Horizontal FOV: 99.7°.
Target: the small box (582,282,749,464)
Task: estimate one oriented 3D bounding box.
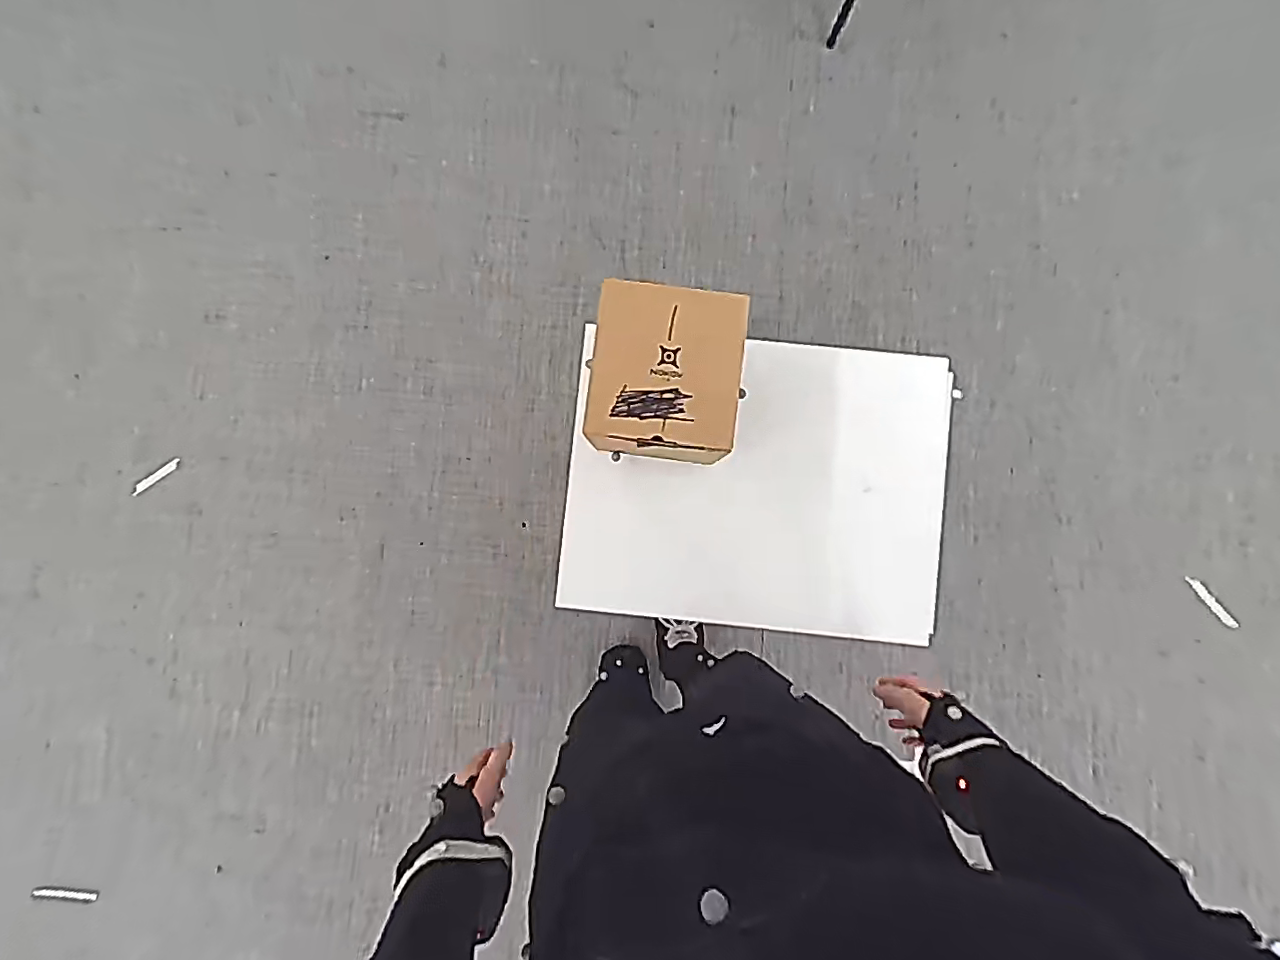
[{"bbox_3d":[0.029,-0.117,0.666,0.168,0.176,0.179,7,86,0],"label":"small box"}]
